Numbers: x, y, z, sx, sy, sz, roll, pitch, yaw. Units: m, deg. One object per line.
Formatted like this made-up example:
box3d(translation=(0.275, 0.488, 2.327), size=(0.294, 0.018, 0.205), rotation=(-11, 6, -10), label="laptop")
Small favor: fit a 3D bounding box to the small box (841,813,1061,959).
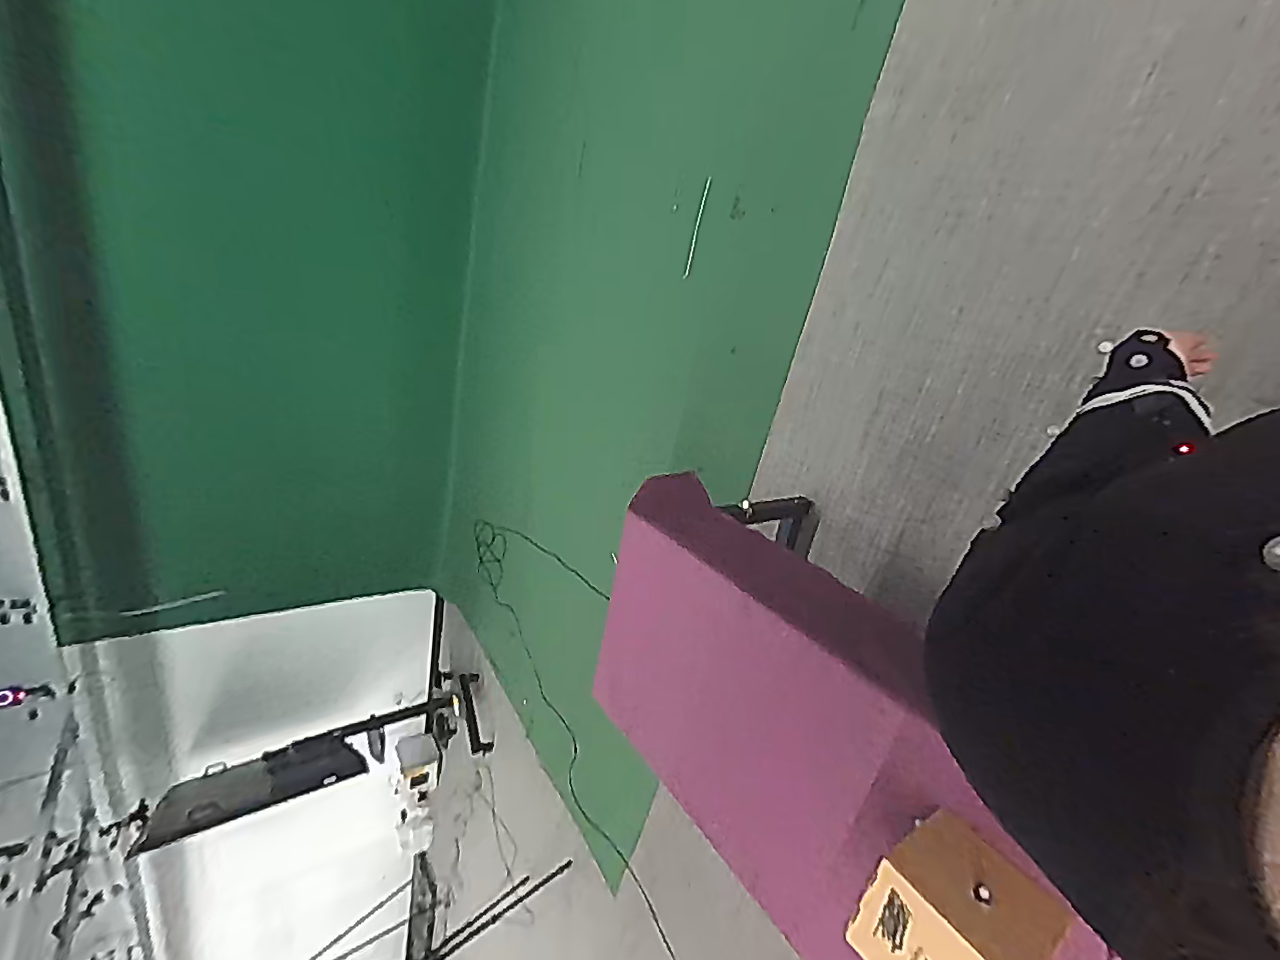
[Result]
box3d(translation=(0.414, 0.591, 0.730), size=(0.179, 0.176, 0.168), rotation=(34, 119, 45), label="small box")
